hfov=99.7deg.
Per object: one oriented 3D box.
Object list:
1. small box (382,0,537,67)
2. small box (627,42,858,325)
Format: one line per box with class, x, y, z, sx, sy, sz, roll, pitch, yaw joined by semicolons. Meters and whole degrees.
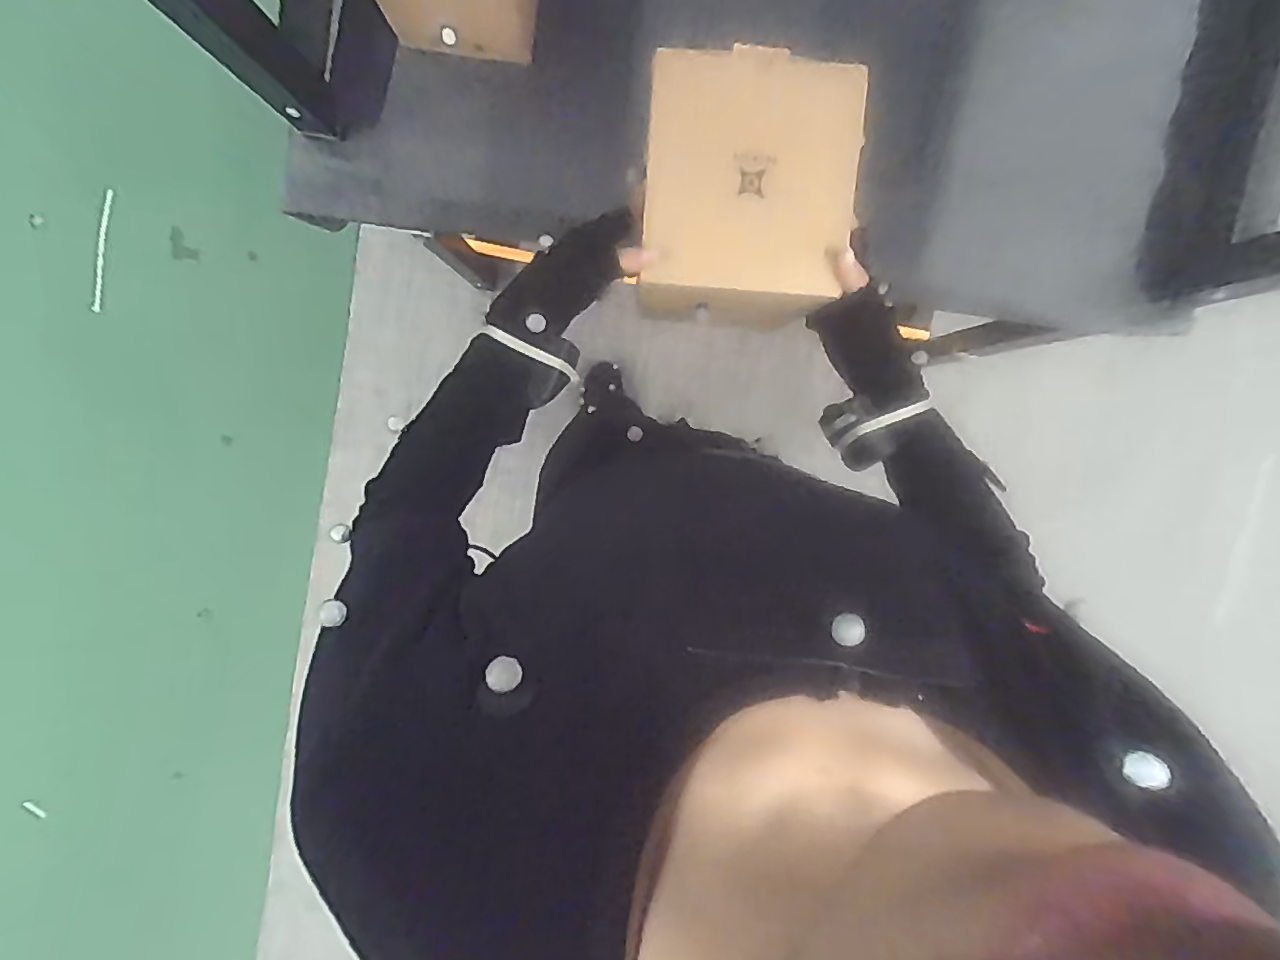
small box;-0.209;-0.615;0.600;0.168;0.176;0.179;8;96;-1
small box;0.077;-0.247;0.496;0.168;0.176;0.179;4;96;-1
